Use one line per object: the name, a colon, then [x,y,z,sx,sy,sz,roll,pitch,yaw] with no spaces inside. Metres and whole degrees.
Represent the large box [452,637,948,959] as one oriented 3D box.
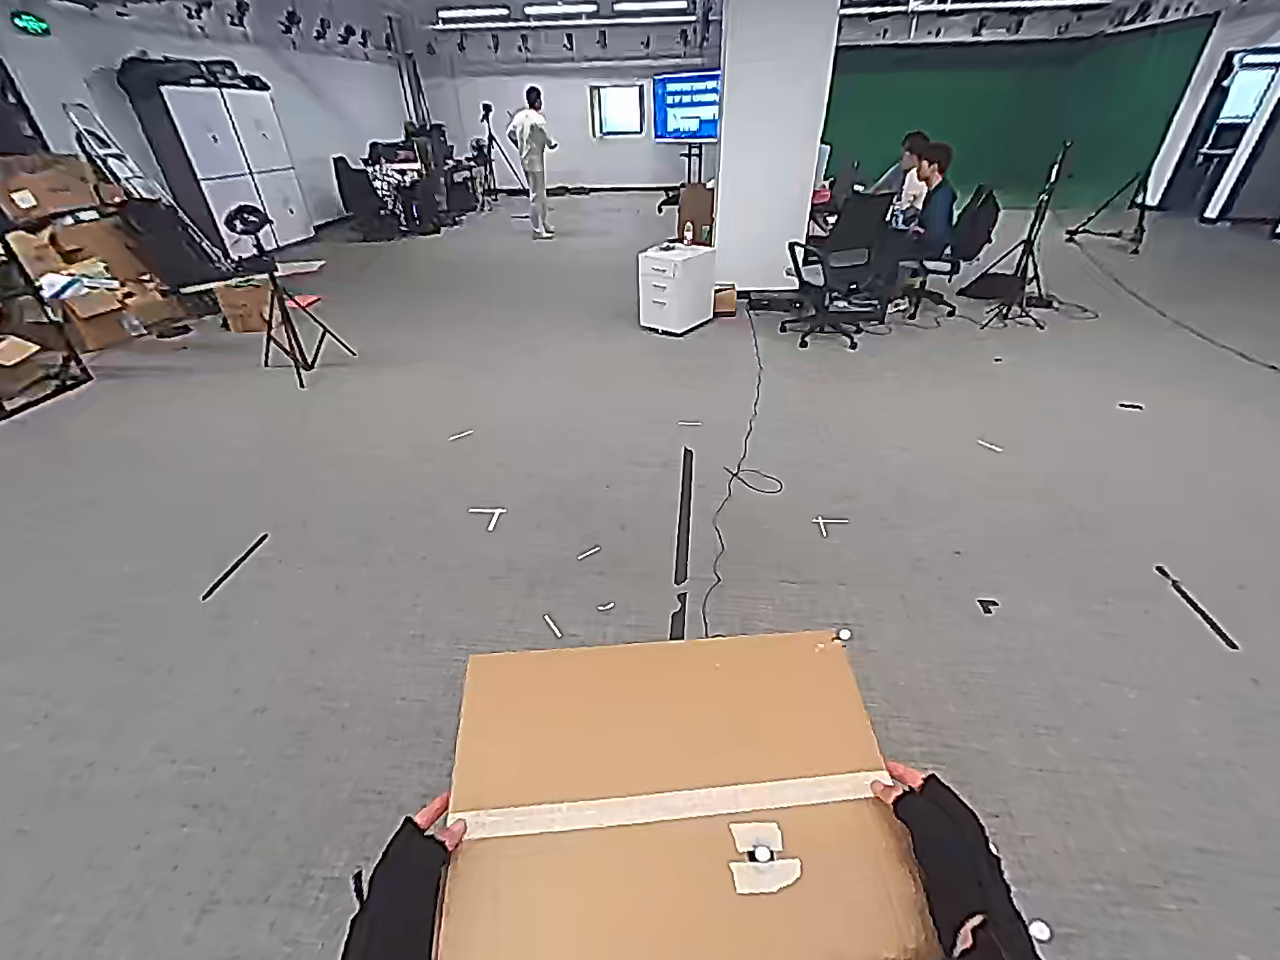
large box: [0.034,0.402,0.613,0.408,0.320,0.320,-2,49,-4]
